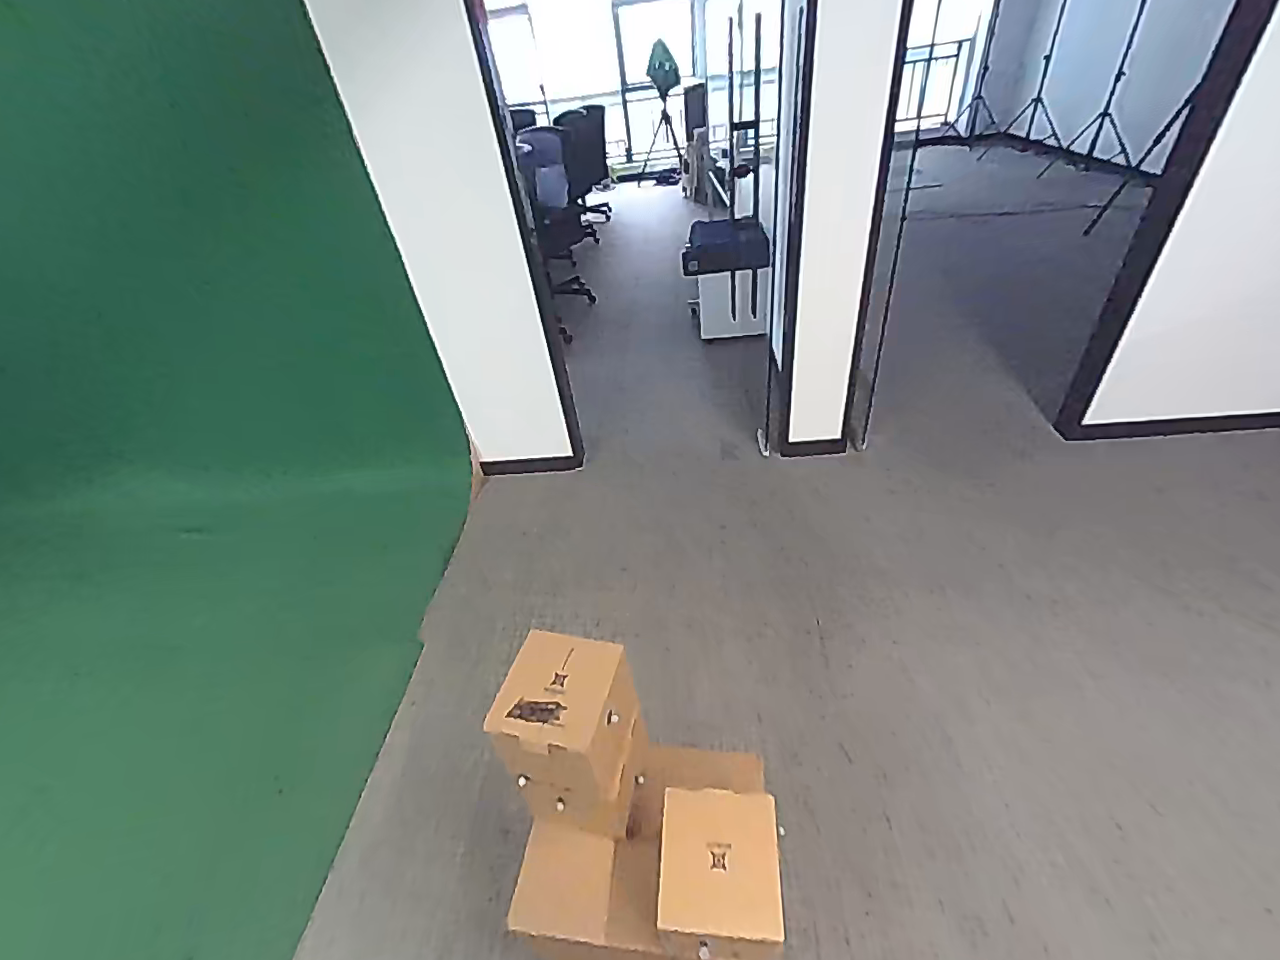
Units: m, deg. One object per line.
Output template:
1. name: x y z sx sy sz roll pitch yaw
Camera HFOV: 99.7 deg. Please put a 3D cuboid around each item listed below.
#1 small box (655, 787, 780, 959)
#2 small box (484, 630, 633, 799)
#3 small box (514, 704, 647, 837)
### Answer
1. small box: 0.118 0.591 0.811 0.168 0.176 0.179 -1 39 8
2. small box: -0.116 0.372 0.862 0.168 0.176 0.179 5 39 16
3. small box: -0.094 0.503 0.961 0.179 0.176 0.168 5 40 14
